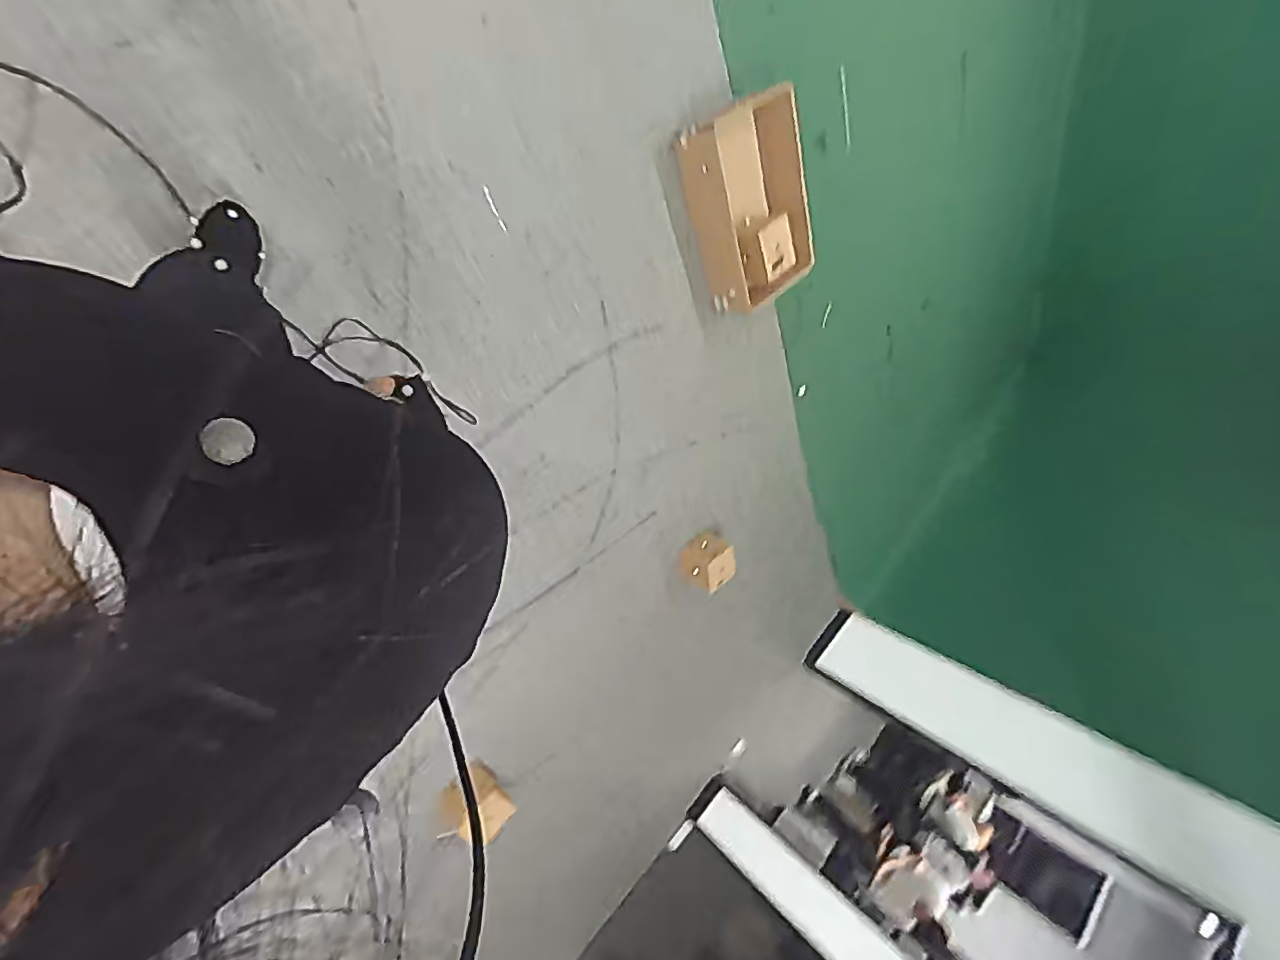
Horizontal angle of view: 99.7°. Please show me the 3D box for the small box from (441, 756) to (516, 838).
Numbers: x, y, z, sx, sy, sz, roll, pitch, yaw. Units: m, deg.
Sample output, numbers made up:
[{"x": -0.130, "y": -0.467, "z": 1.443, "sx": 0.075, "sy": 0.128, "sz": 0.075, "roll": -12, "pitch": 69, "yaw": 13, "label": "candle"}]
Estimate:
[{"x": -0.590, "y": 1.149, "z": 1.971, "sx": 0.168, "sy": 0.176, "sz": 0.179, "roll": -43, "pitch": 130, "yaw": -22, "label": "small box"}]

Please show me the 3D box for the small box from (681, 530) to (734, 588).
[{"x": 0.301, "y": 0.345, "z": 2.426, "sx": 0.168, "sy": 0.176, "sz": 0.179, "roll": -32, "pitch": 126, "yaw": -29, "label": "small box"}]
